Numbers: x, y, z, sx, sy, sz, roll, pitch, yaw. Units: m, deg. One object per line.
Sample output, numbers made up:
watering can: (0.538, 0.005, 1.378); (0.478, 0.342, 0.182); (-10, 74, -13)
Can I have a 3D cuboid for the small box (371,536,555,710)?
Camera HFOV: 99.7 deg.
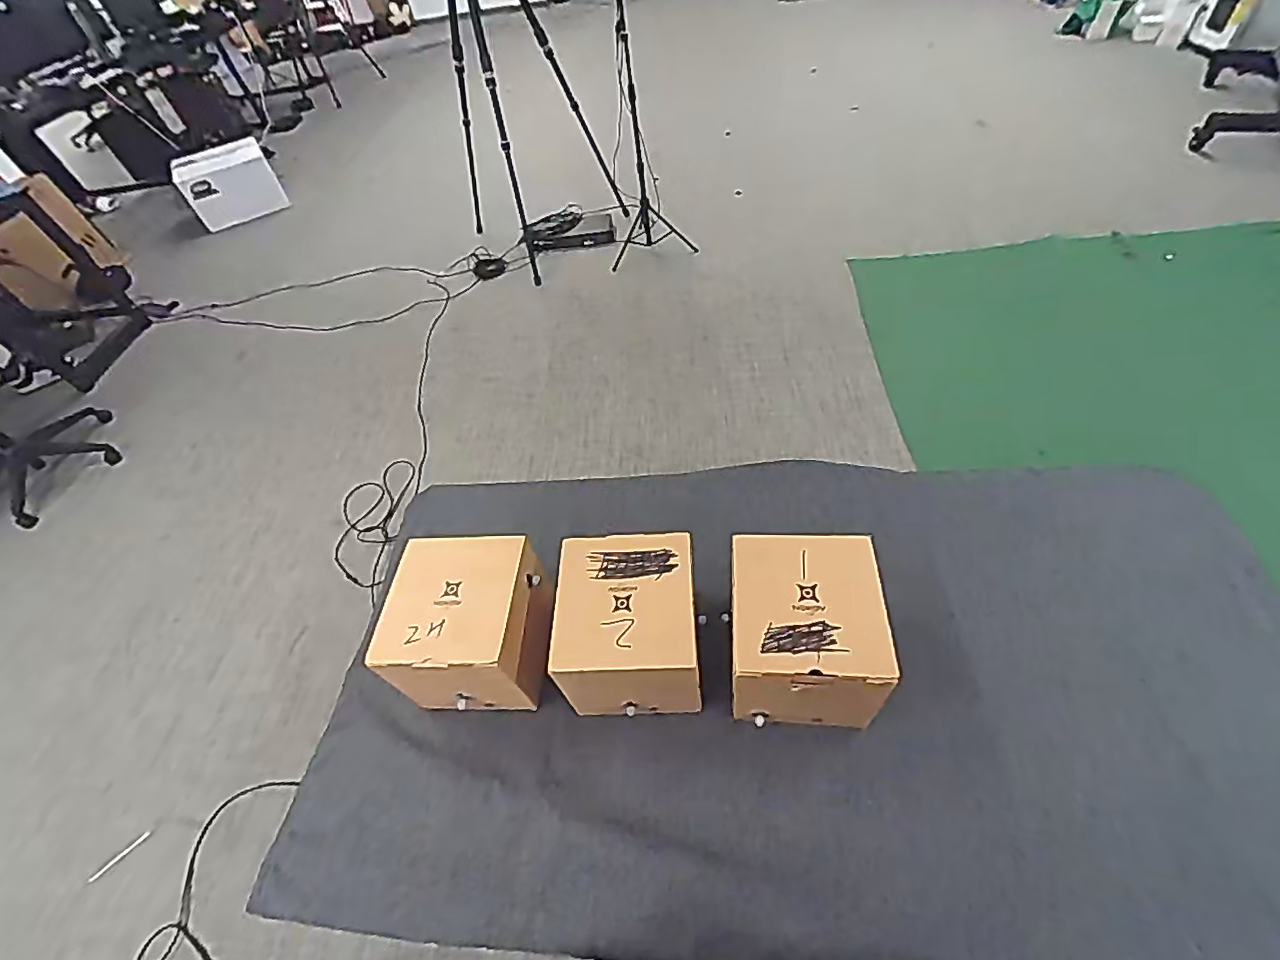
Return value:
small box: (-0.221, 0.193, 0.733); (0.168, 0.176, 0.179); (-2, 51, 8)
